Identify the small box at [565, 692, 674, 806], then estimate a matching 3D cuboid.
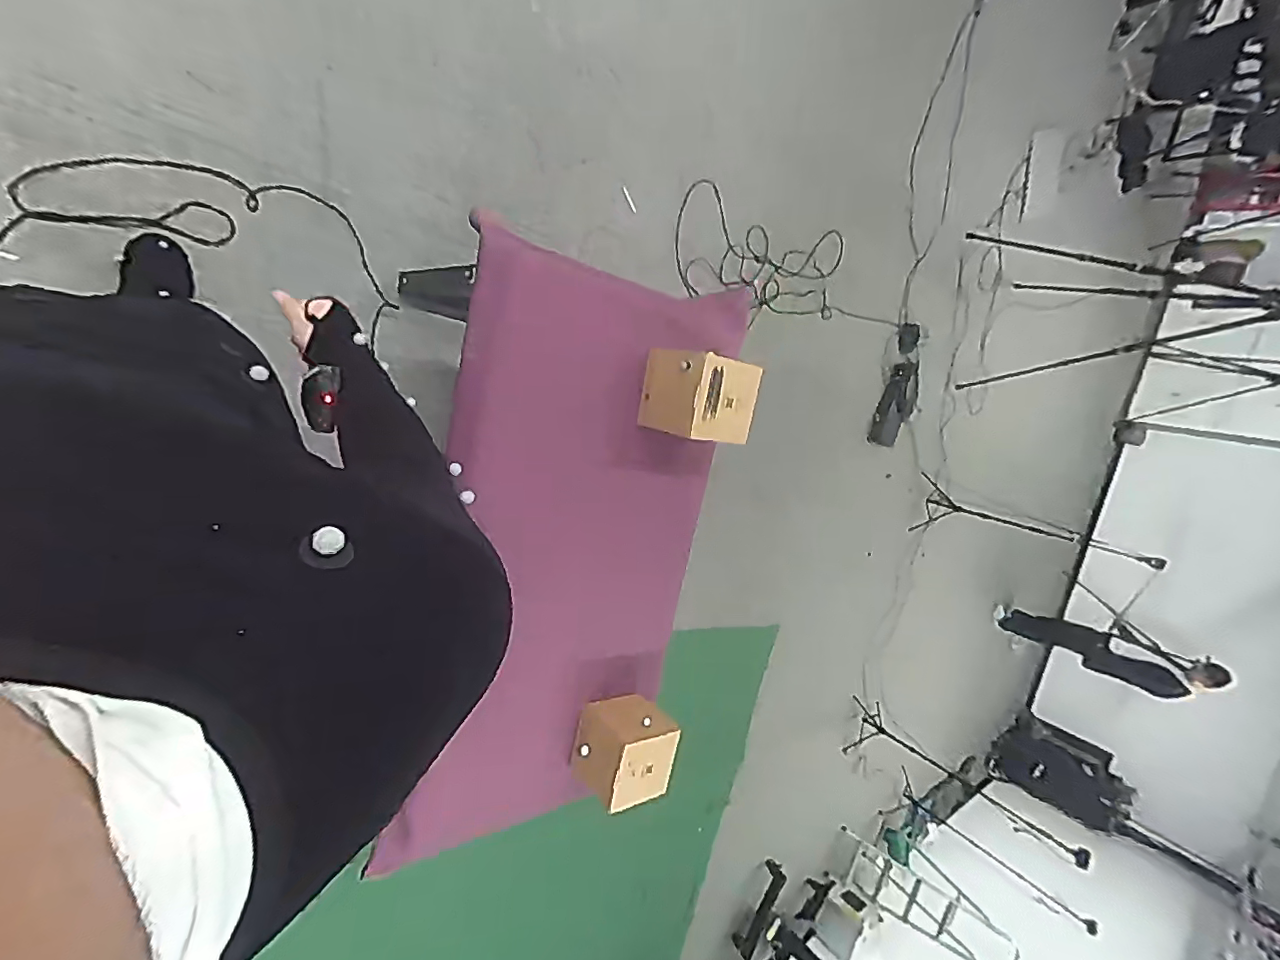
[{"bbox_3d":[-0.051,0.629,1.293,0.179,0.176,0.168,8,97,-41],"label":"small box"}]
